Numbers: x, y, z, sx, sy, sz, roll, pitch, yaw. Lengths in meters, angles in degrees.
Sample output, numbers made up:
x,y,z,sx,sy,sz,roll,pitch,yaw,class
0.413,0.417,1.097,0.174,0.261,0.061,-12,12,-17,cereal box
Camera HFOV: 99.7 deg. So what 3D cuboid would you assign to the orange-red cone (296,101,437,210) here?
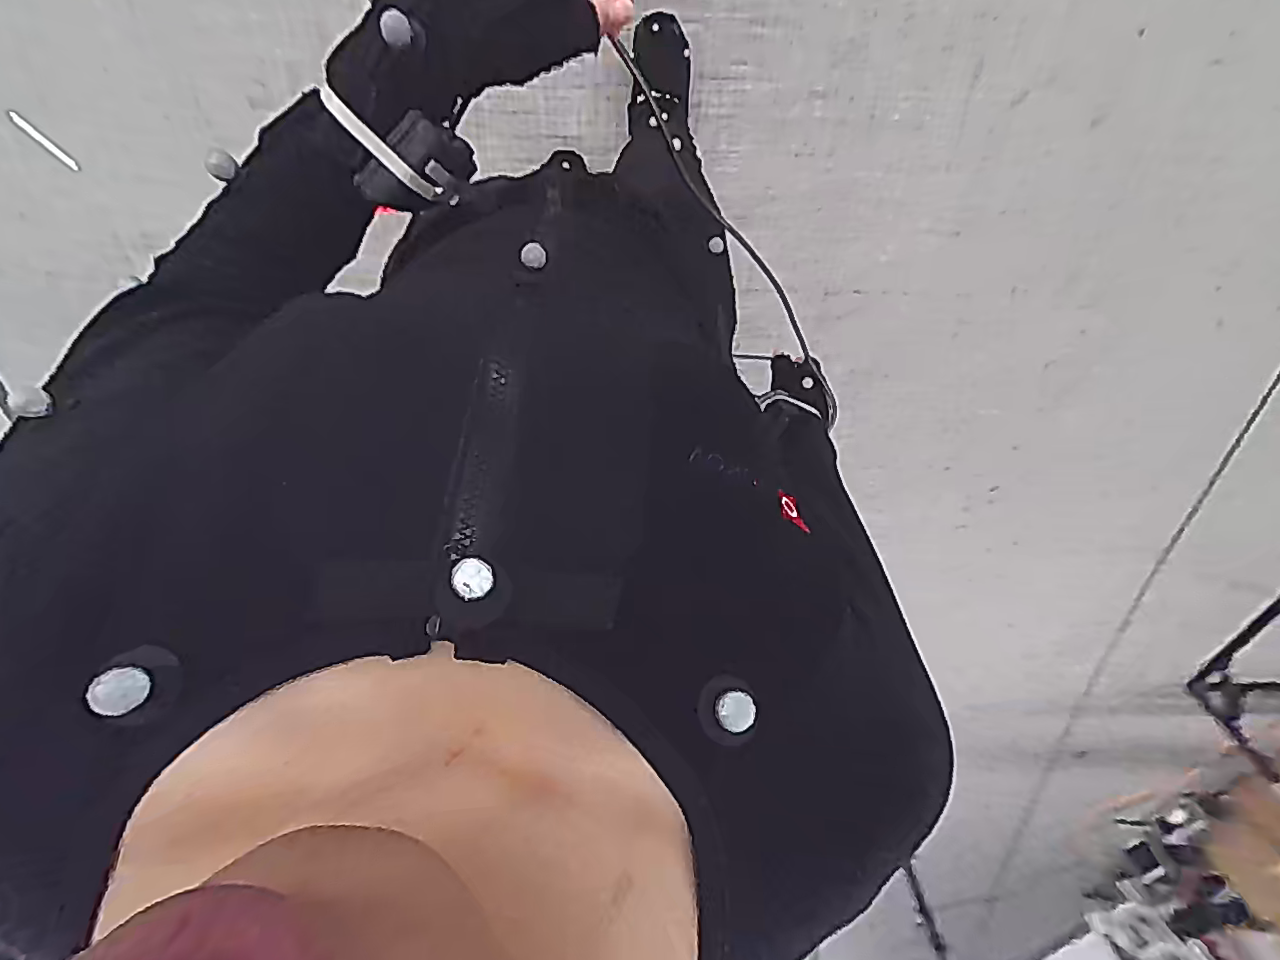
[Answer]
x,y,z,sx,sy,sz,roll,pitch,yaw,class
-0.541,-0.584,1.009,0.198,0.360,0.199,-3,125,-1,orange-red cone
